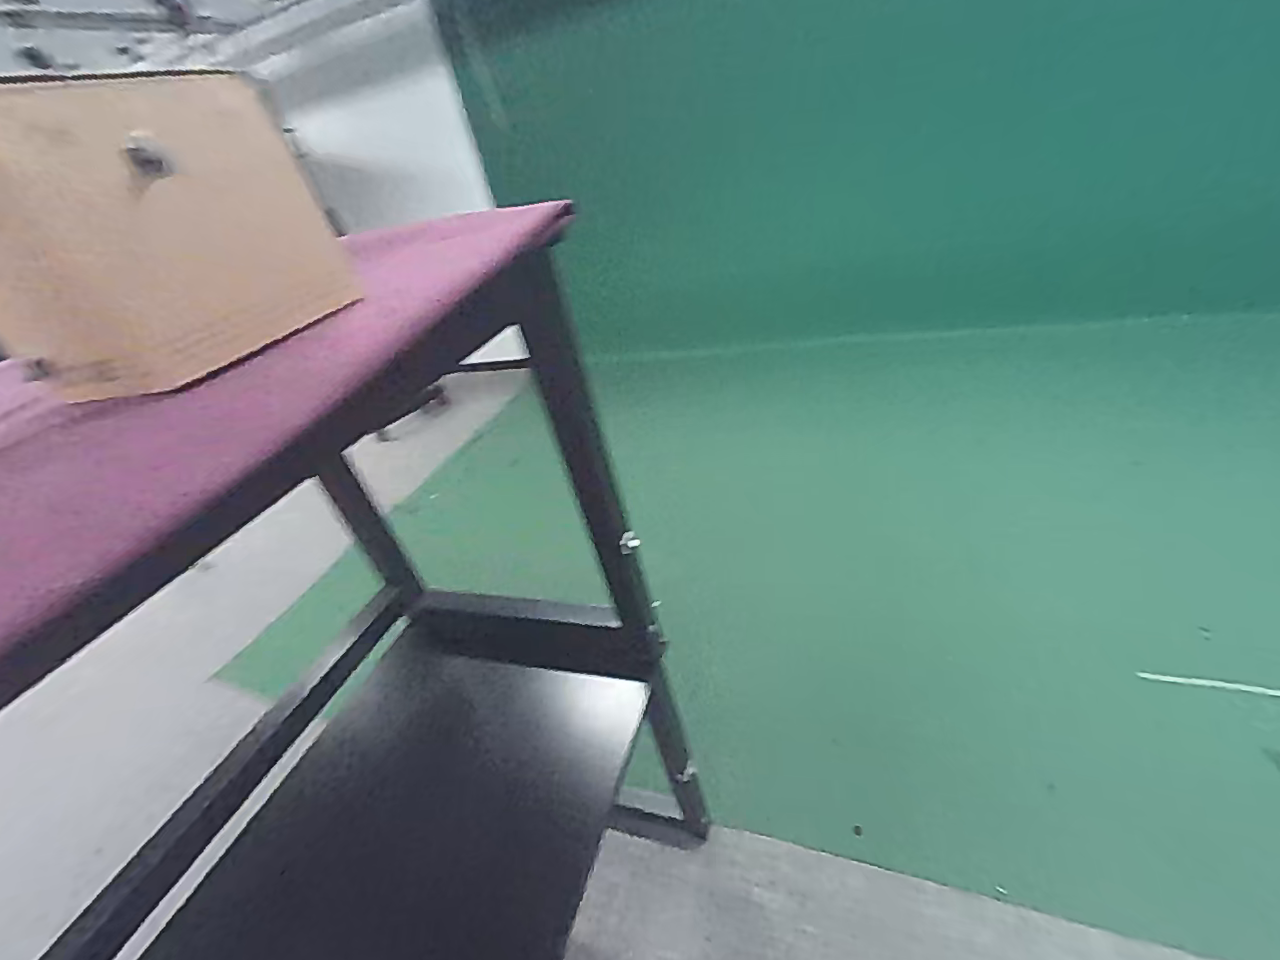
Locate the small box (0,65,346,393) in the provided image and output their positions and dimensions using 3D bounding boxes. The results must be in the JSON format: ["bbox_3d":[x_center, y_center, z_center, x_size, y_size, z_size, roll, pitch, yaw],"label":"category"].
[{"bbox_3d":[-0.365,-0.172,0.396,0.168,0.176,0.179,0,37,24],"label":"small box"}]
